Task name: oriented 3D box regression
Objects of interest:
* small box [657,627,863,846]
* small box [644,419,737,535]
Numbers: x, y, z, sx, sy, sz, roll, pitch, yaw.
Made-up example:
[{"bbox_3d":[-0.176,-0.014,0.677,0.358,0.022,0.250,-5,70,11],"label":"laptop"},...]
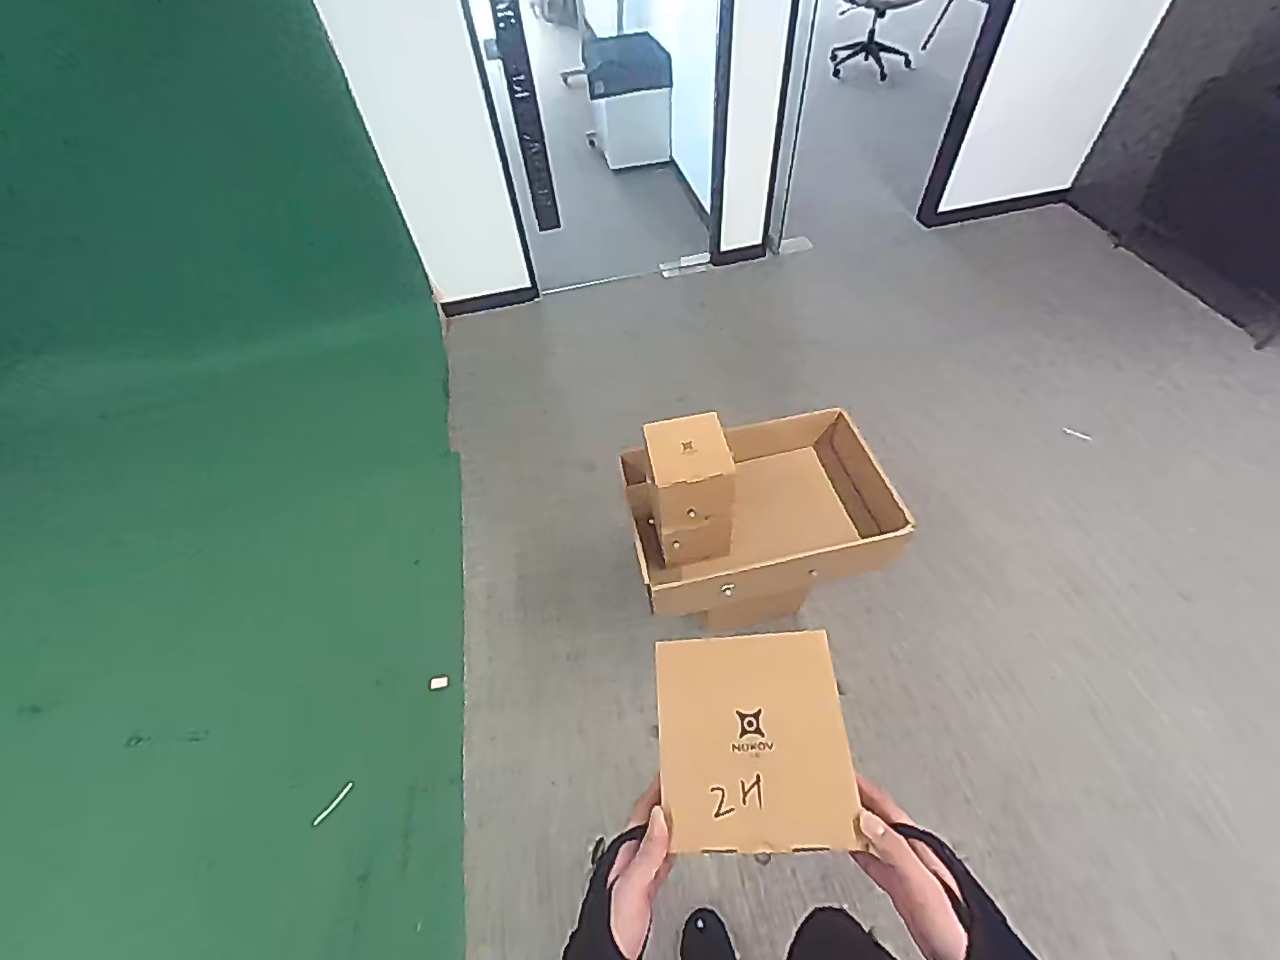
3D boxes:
[{"bbox_3d":[0.109,0.261,0.547,0.168,0.176,0.179,-6,59,8],"label":"small box"},{"bbox_3d":[0.105,-0.005,1.189,0.168,0.176,0.179,-10,51,-3],"label":"small box"}]
